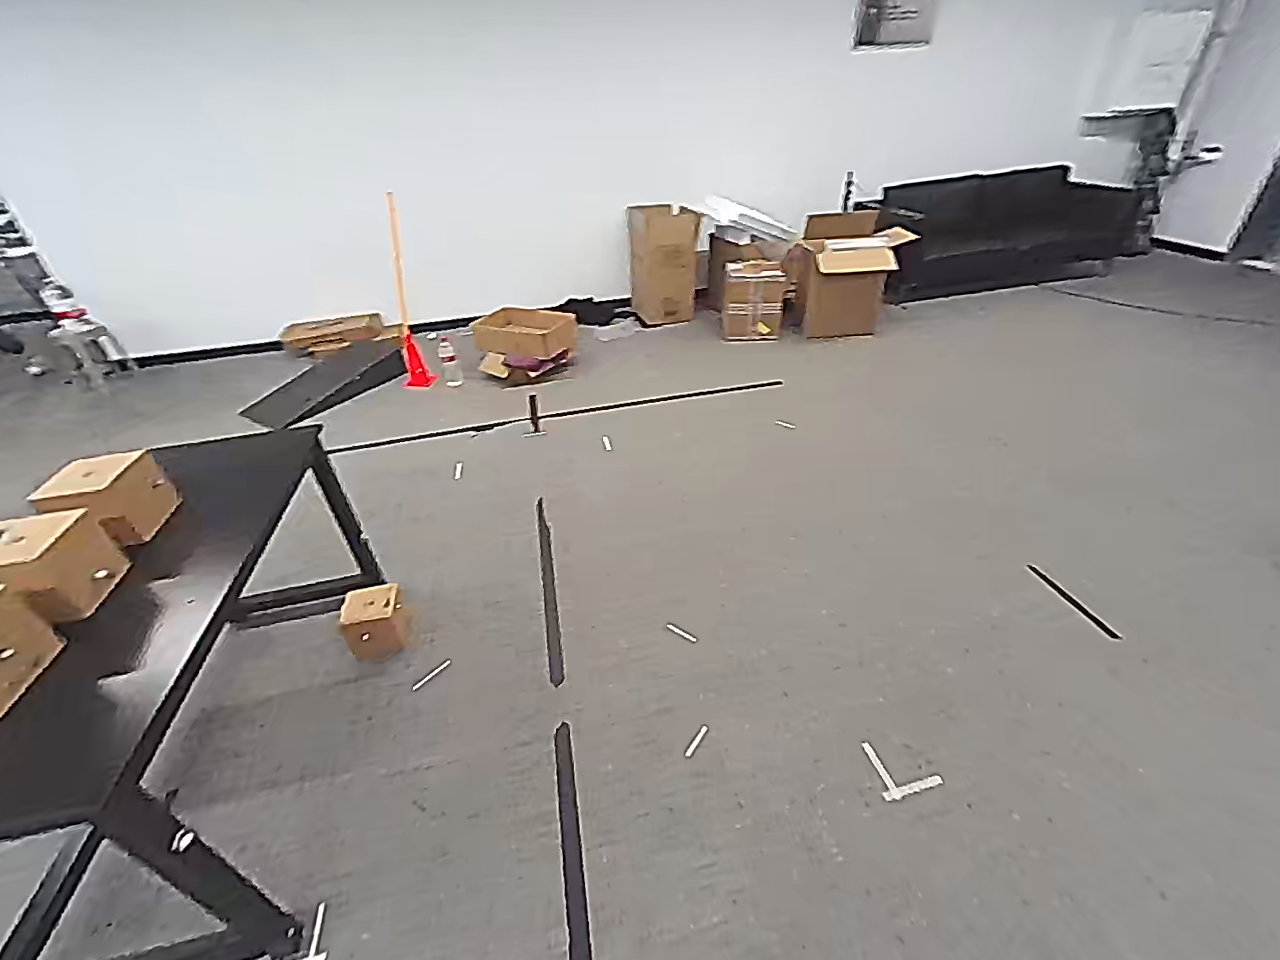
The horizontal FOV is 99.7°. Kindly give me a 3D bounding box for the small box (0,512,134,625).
[{"bbox_3d":[-1.238,0.192,1.130,0.179,0.176,0.168,-9,34,-10],"label":"small box"}]

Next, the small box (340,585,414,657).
[{"bbox_3d":[-0.931,0.506,1.928,0.179,0.176,0.168,-11,36,-8],"label":"small box"}]

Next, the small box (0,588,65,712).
[{"bbox_3d":[-1.198,0.316,0.947,0.179,0.176,0.168,-8,34,-5],"label":"small box"}]

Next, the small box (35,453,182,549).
[{"bbox_3d":[-1.289,0.058,1.333,0.168,0.176,0.179,-11,36,-7],"label":"small box"}]
